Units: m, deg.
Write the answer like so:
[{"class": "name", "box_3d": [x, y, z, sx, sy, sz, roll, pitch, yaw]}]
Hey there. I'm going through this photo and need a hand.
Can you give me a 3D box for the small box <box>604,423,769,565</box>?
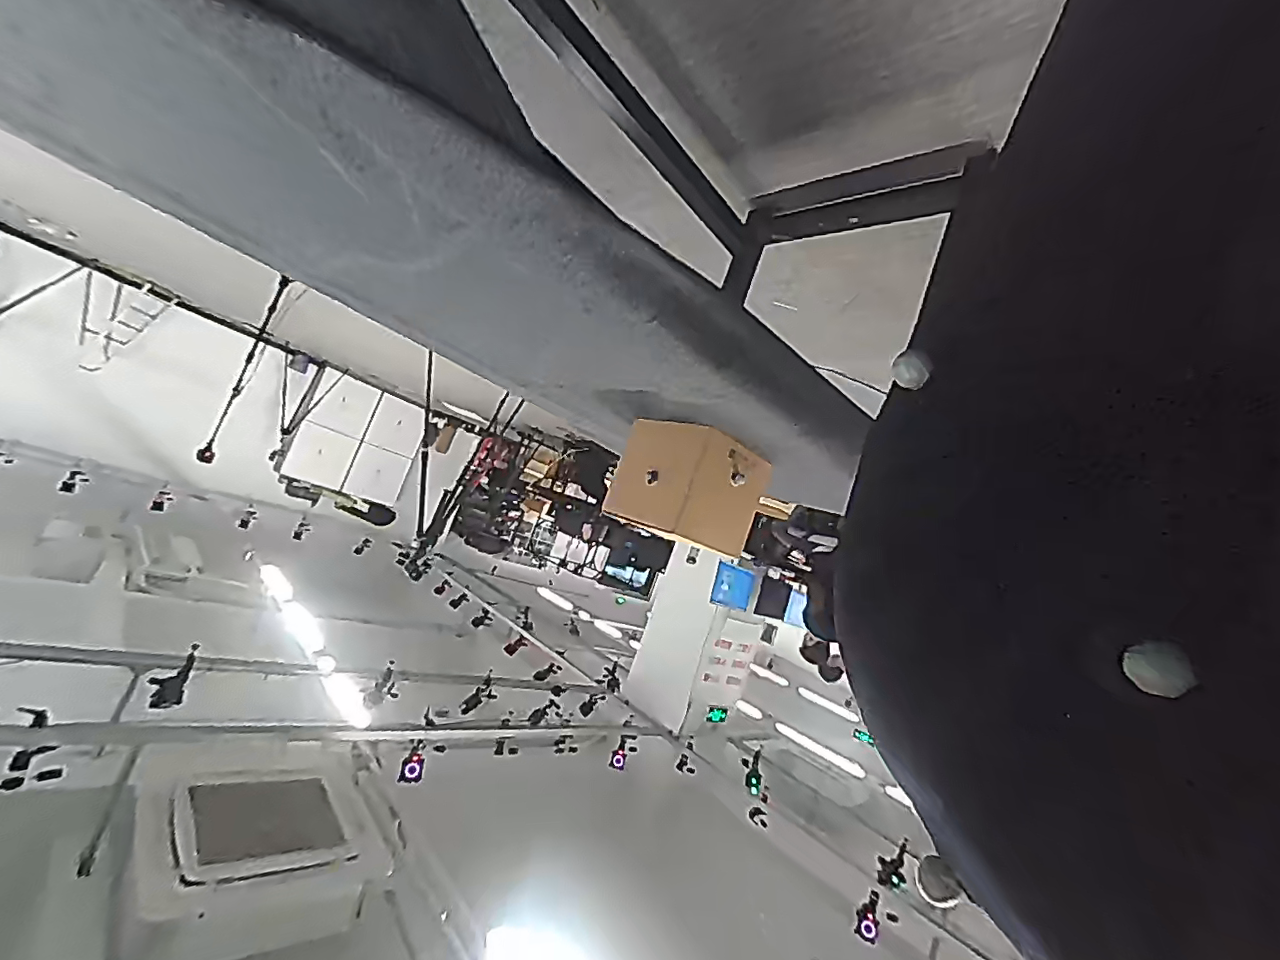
[{"class": "small box", "box_3d": [0.077, 0.016, 0.869, 0.168, 0.176, 0.179, 26, 171, -40]}]
